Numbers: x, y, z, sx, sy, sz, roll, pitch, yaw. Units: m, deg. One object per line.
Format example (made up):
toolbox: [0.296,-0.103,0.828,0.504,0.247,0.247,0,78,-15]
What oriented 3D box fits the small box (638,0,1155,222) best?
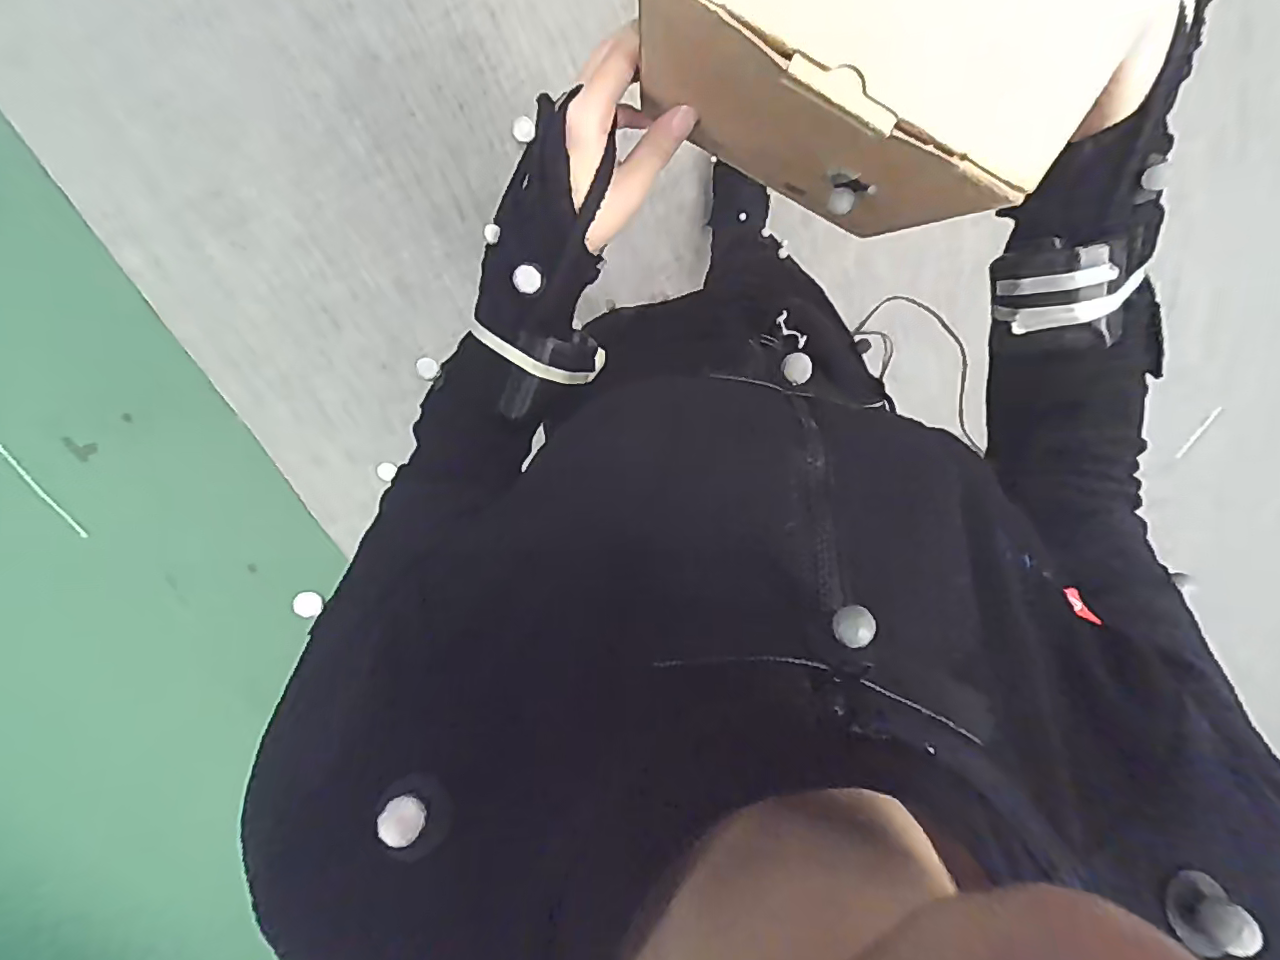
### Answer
small box: [0.109,-0.239,0.239,0.168,0.176,0.179,25,107,-9]
